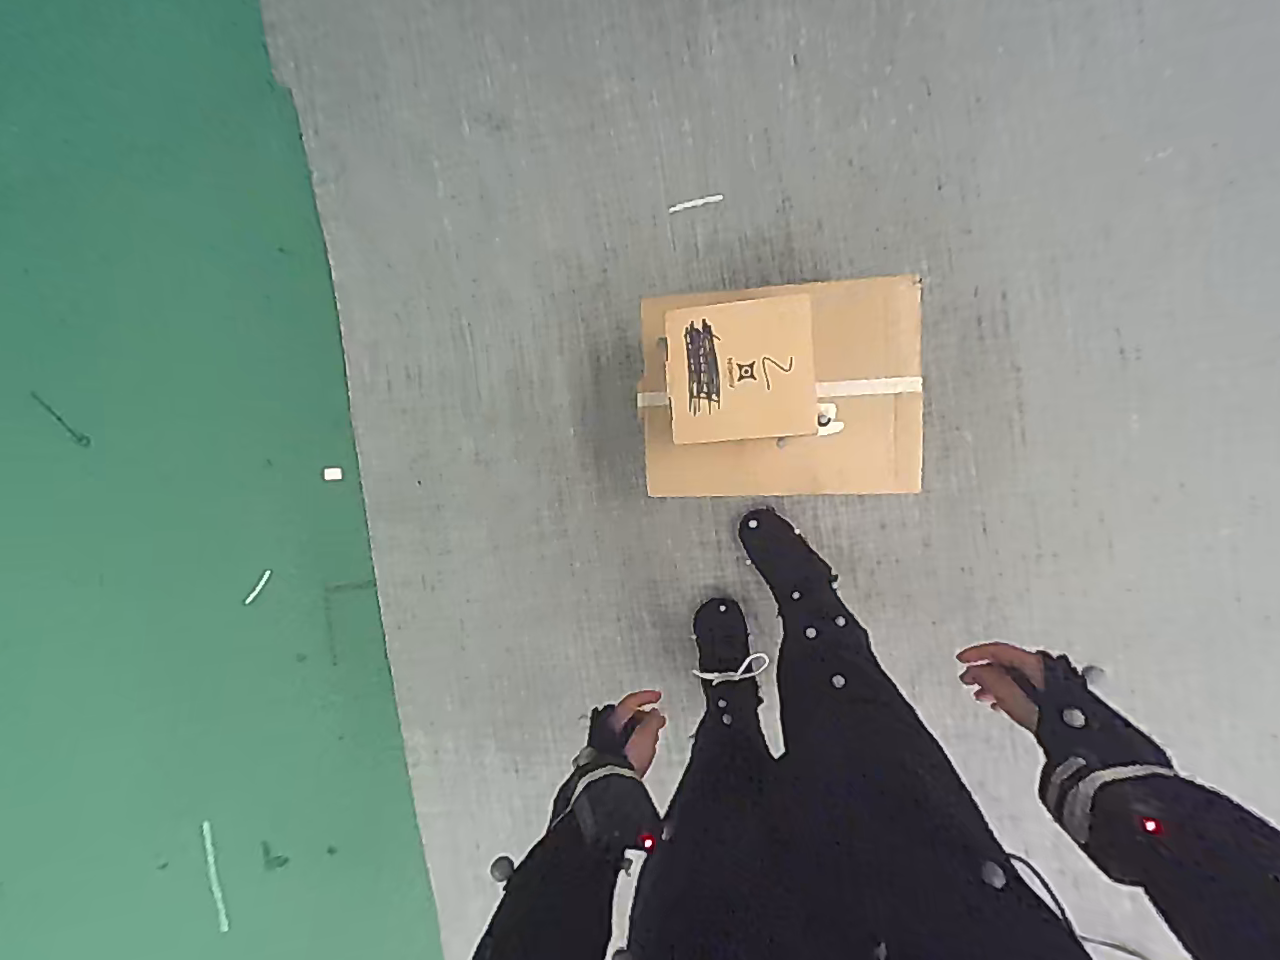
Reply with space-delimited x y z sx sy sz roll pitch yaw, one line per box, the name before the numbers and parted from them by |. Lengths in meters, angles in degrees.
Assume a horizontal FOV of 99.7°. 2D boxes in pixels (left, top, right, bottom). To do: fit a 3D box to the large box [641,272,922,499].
large box | 0.230 -0.141 0.954 0.408 0.320 0.320 -2 94 11
